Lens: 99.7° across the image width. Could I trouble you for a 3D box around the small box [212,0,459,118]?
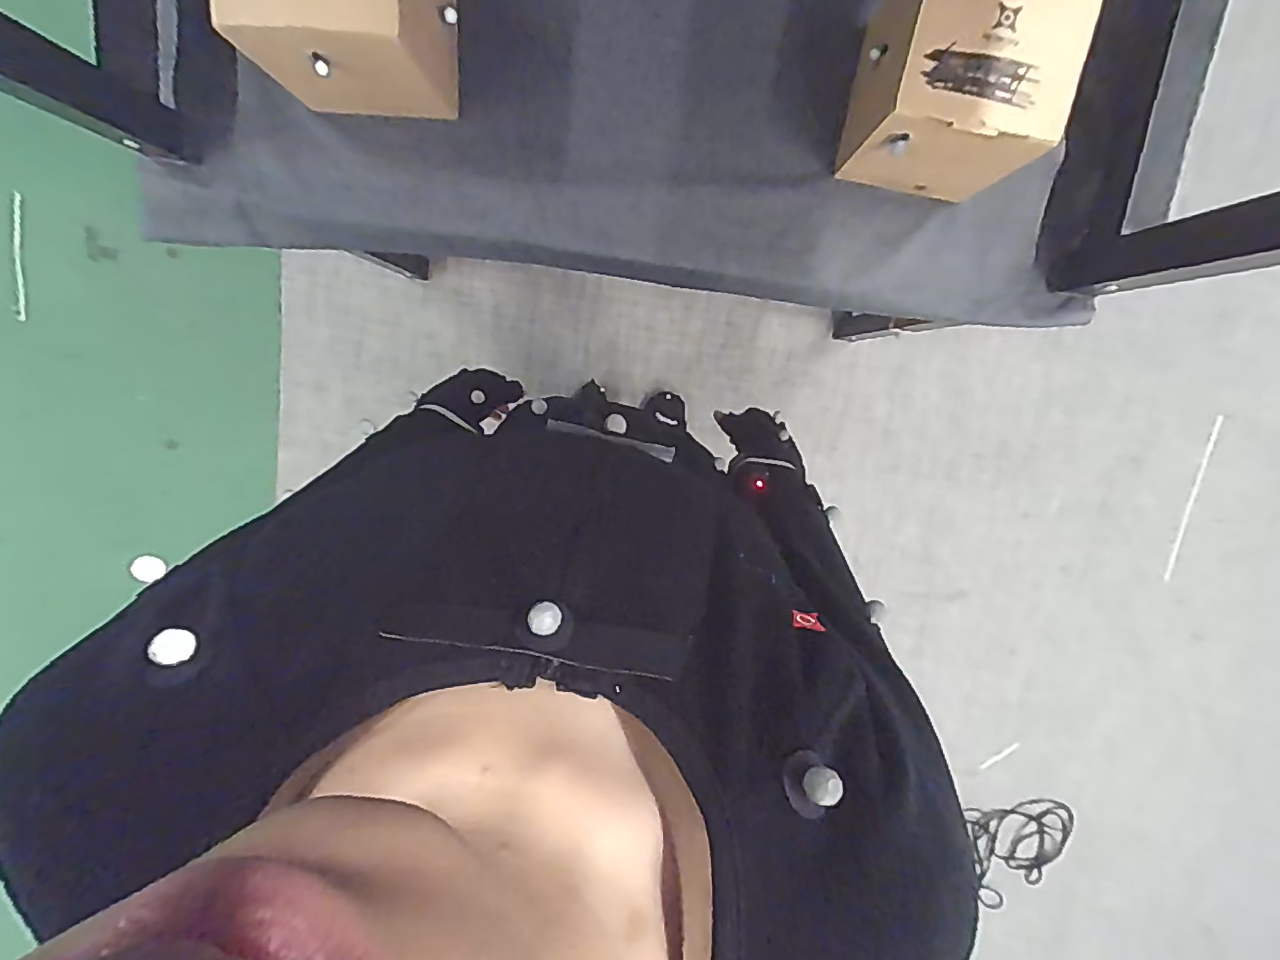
[{"bbox_3d":[-0.304,-0.508,0.565,0.179,0.176,0.168,3,101,-1],"label":"small box"}]
